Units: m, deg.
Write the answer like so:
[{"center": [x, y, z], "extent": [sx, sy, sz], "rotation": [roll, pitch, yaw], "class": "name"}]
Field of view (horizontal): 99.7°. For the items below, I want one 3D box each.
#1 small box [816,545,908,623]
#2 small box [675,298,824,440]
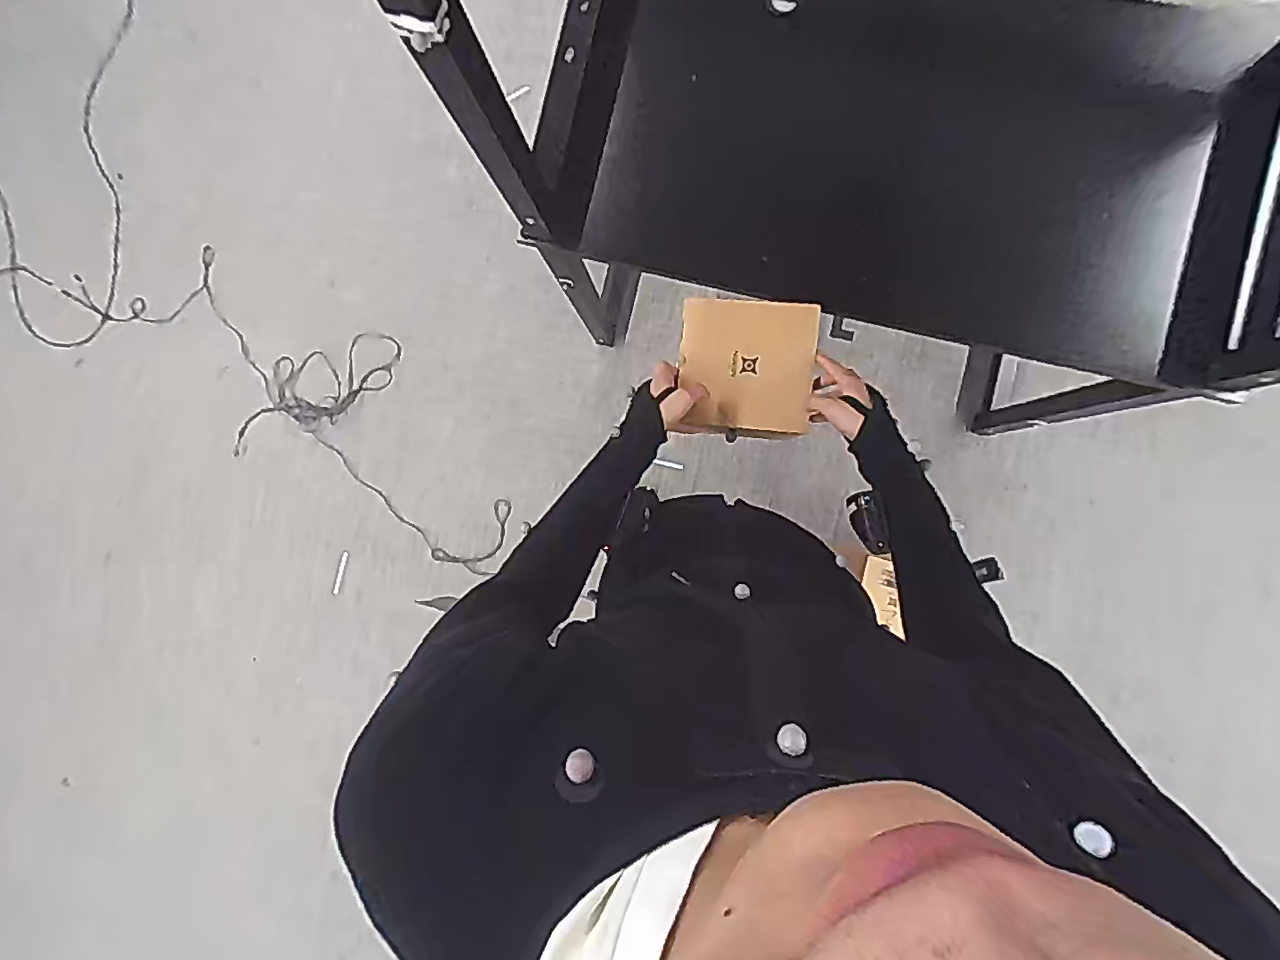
[{"center": [0.612, 0.282, 1.508], "extent": [0.179, 0.176, 0.168], "rotation": [12, 90, 6], "class": "small box"}, {"center": [0.150, -0.148, 0.770], "extent": [0.179, 0.176, 0.168], "rotation": [5, 92, 9], "class": "small box"}]
